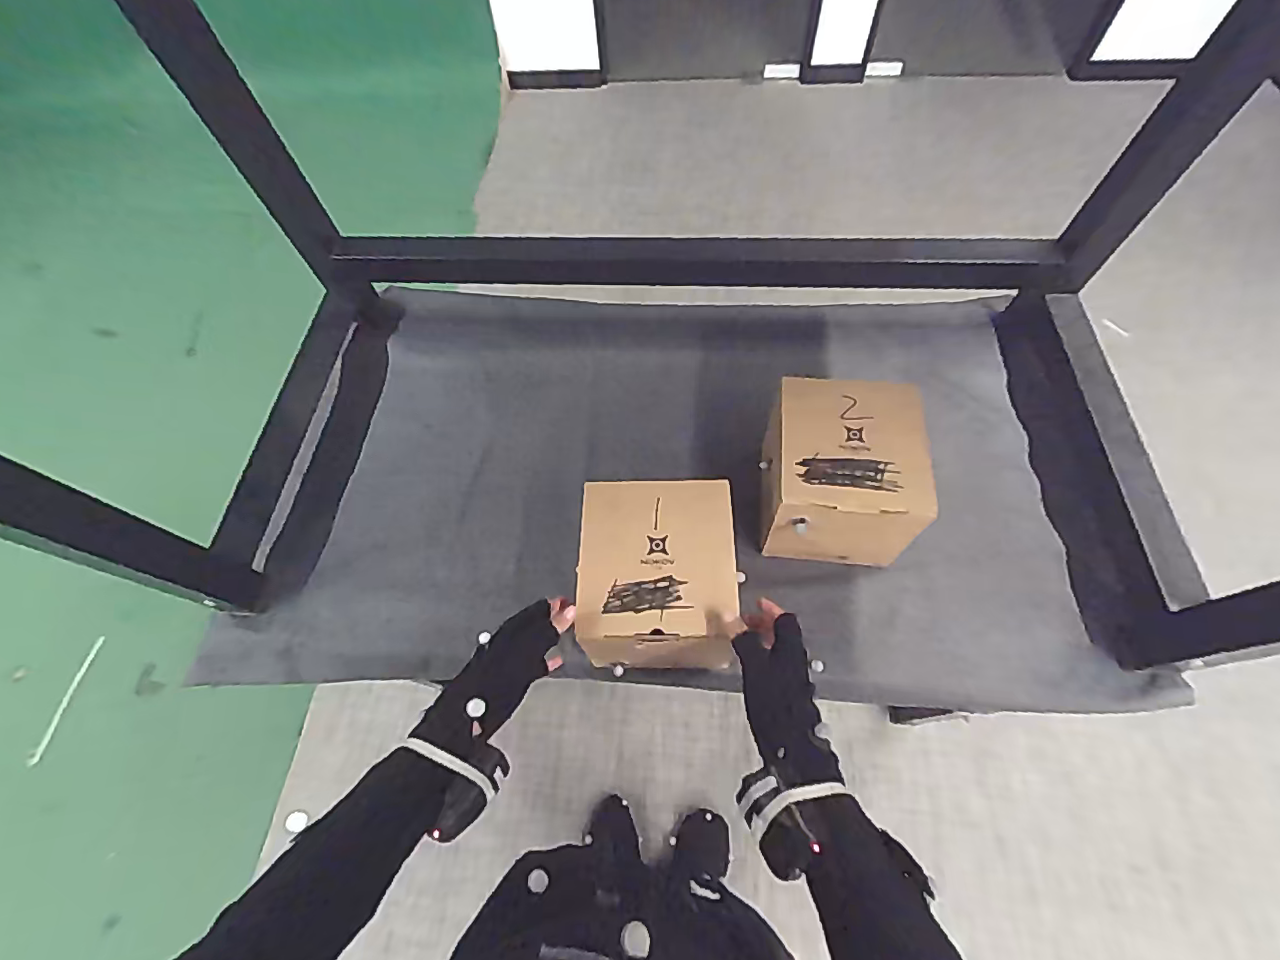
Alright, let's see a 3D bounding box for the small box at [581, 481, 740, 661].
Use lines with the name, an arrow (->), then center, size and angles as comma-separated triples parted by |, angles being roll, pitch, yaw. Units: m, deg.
small box -> 0.029, 0.118, 0.655 | 0.168, 0.176, 0.179 | -1, 60, 4
